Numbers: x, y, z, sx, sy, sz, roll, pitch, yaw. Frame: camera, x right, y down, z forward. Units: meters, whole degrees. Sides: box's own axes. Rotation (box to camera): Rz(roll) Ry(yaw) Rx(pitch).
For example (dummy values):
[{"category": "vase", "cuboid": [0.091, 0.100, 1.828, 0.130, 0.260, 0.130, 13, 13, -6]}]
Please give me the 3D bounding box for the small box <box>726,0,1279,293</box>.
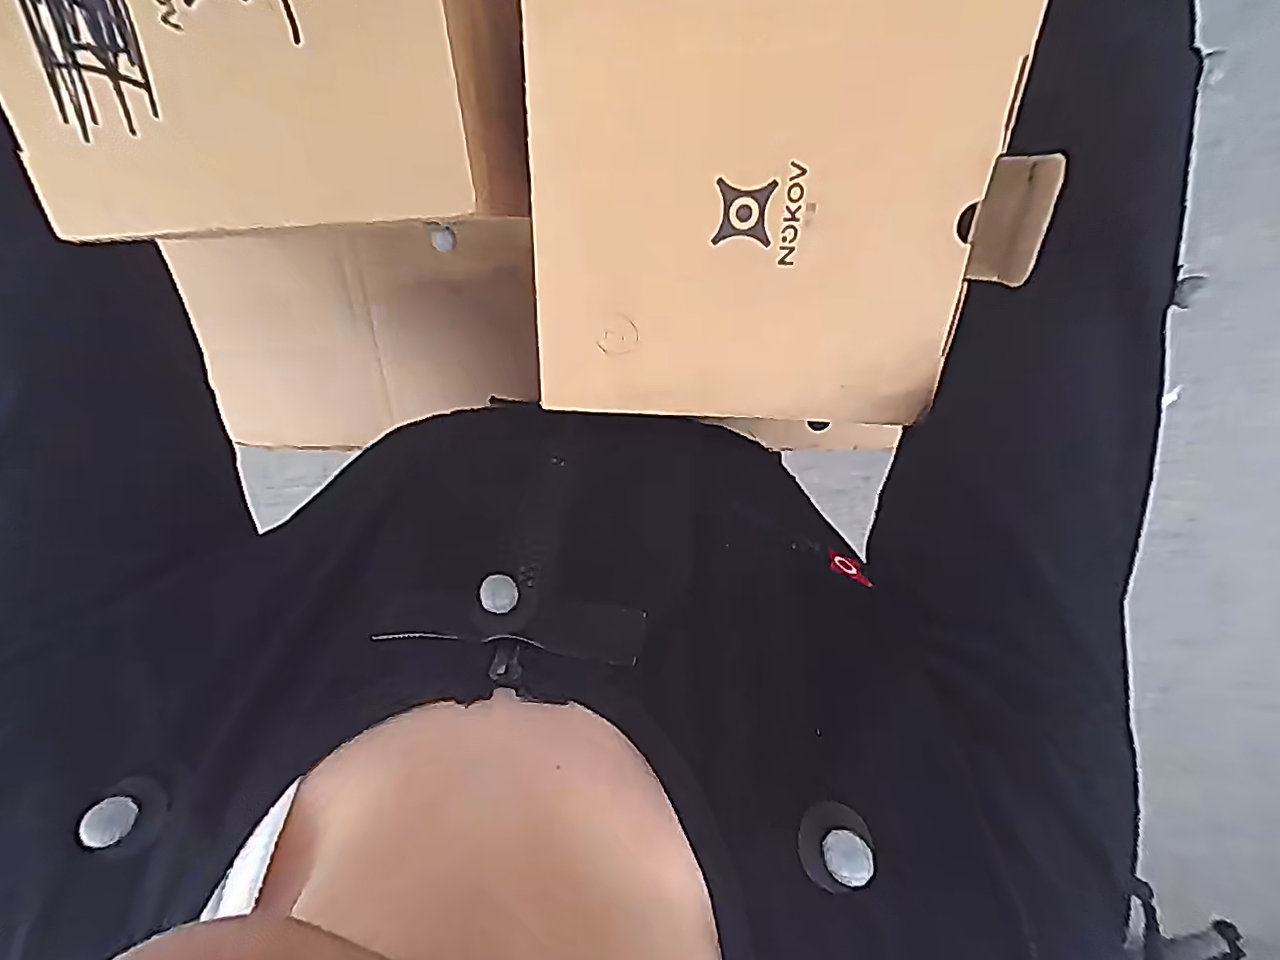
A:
[{"category": "small box", "cuboid": [0.148, -0.198, 0.232, 0.179, 0.176, 0.168, 14, 123, -6]}]
